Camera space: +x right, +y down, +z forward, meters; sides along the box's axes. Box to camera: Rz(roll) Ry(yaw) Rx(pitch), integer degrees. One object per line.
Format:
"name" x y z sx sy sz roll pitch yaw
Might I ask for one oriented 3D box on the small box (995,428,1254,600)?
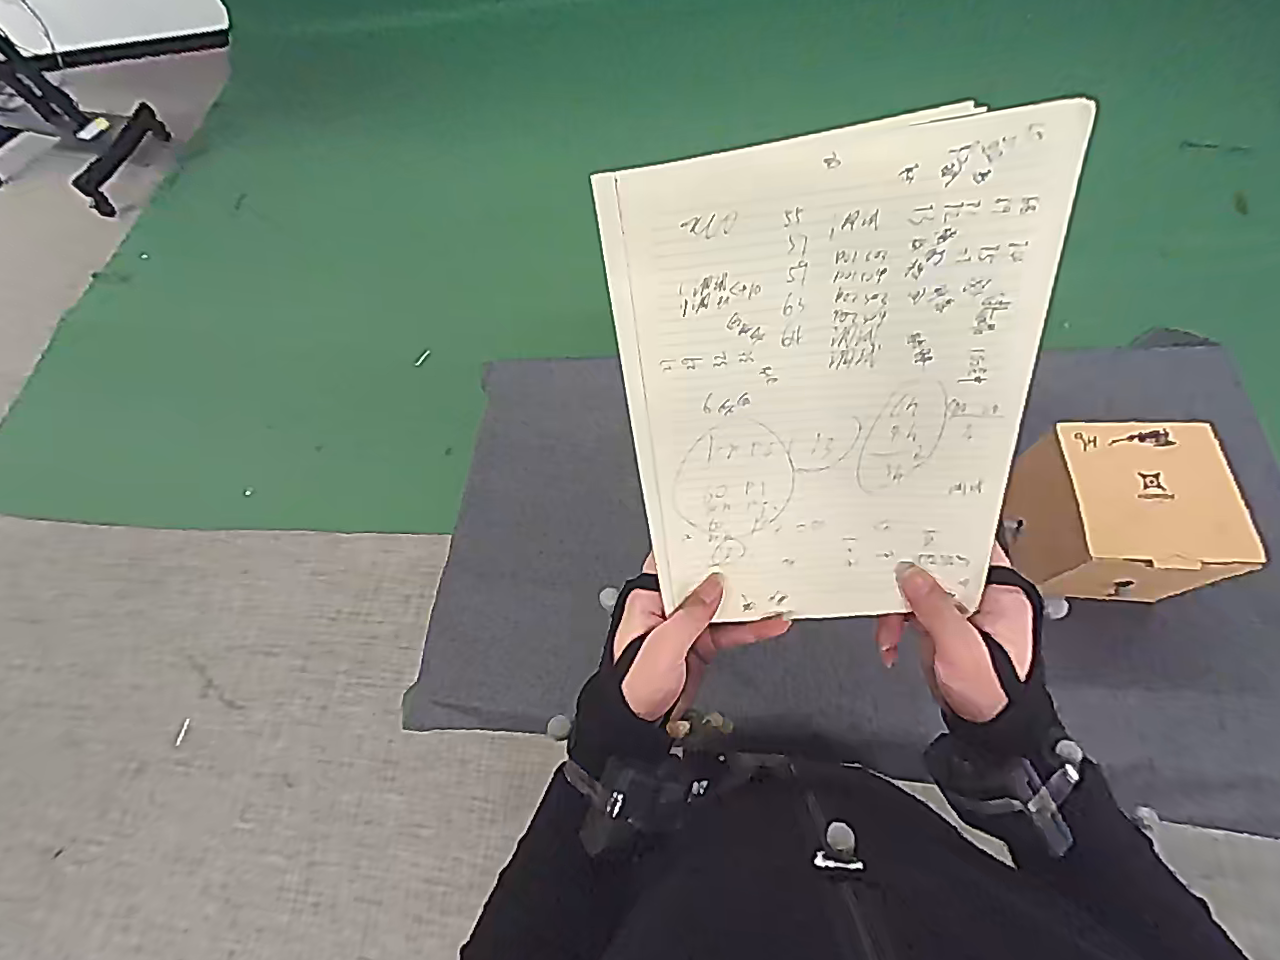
"small box" 0.588 0.050 0.688 0.168 0.176 0.179 2 67 9

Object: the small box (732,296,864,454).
"small box" 0.227 -0.150 0.818 0.168 0.176 0.179 1 65 7
